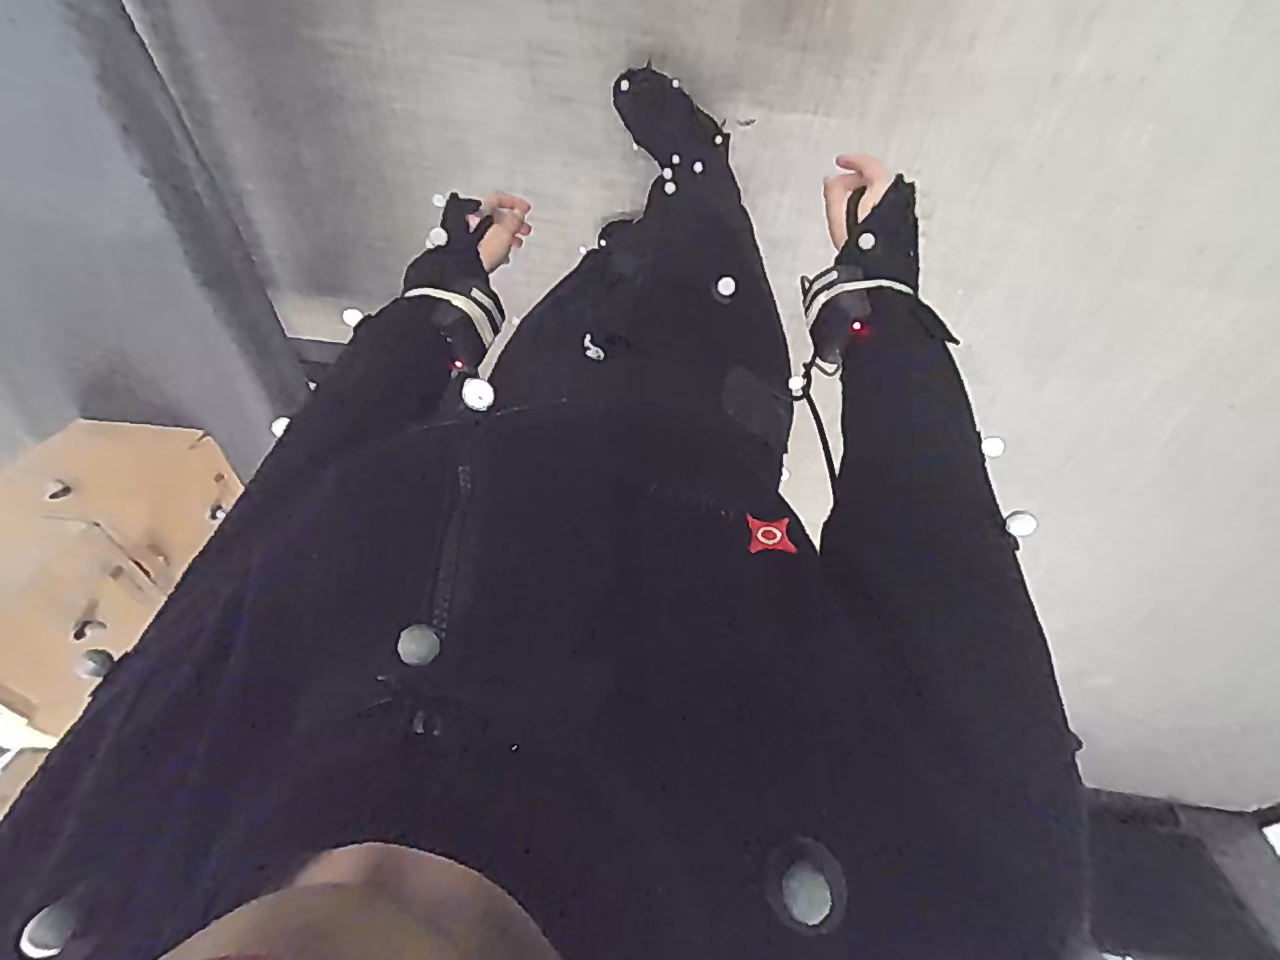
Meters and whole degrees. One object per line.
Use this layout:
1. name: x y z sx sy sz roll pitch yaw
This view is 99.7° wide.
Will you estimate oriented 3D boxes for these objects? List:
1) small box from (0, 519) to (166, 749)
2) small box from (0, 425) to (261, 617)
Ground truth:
1. small box: -0.649 0.152 0.554 0.179 0.176 0.168 3 132 3
2. small box: -0.636 0.046 0.678 0.179 0.176 0.168 5 132 3
